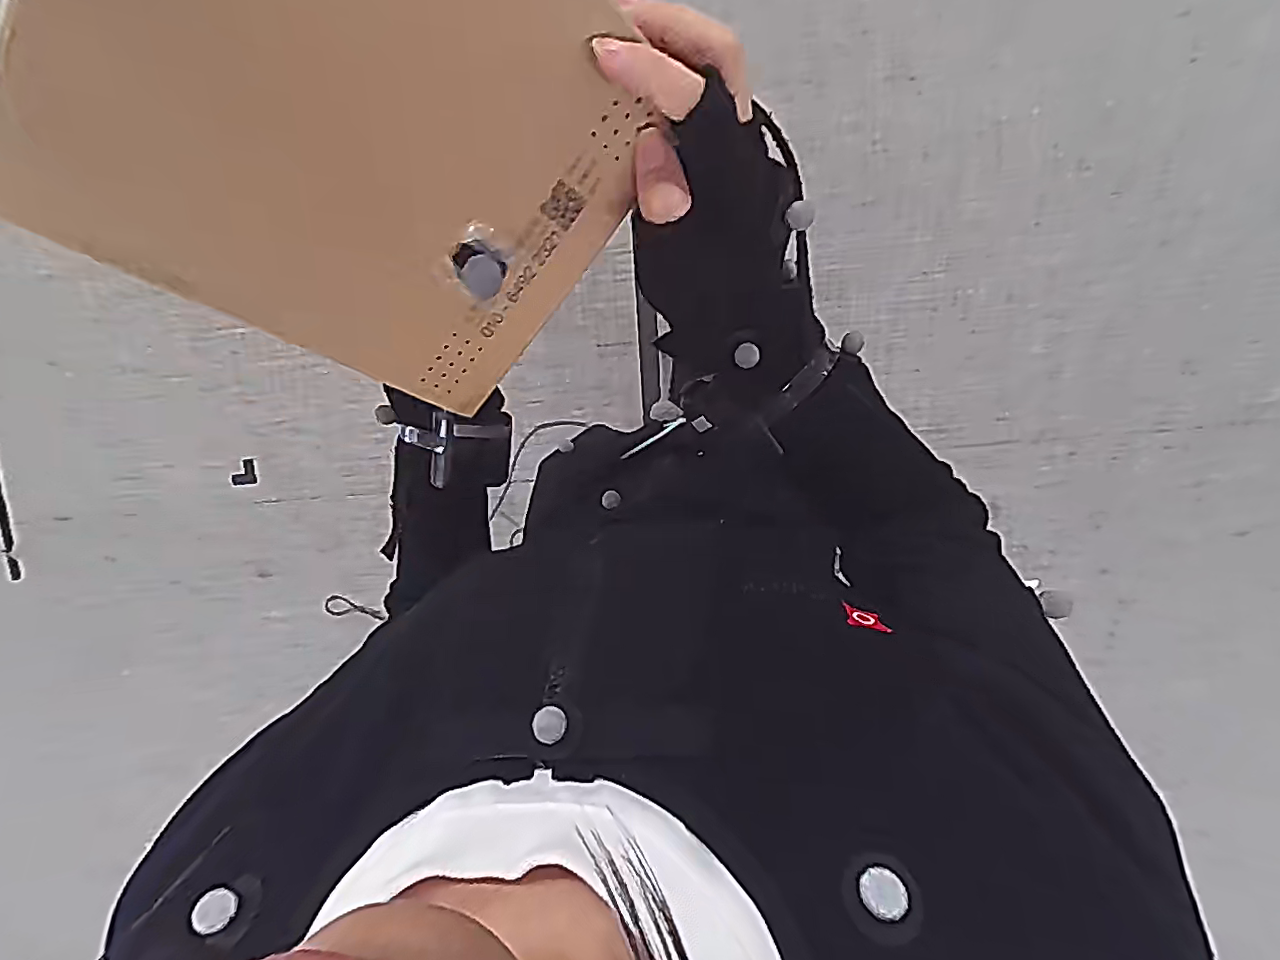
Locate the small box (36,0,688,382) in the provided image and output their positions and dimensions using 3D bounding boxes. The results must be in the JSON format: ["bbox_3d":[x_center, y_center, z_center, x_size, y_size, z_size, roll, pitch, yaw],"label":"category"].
[{"bbox_3d":[-0.112,-0.174,0.252,0.176,0.179,0.168,23,115,-45],"label":"small box"}]
